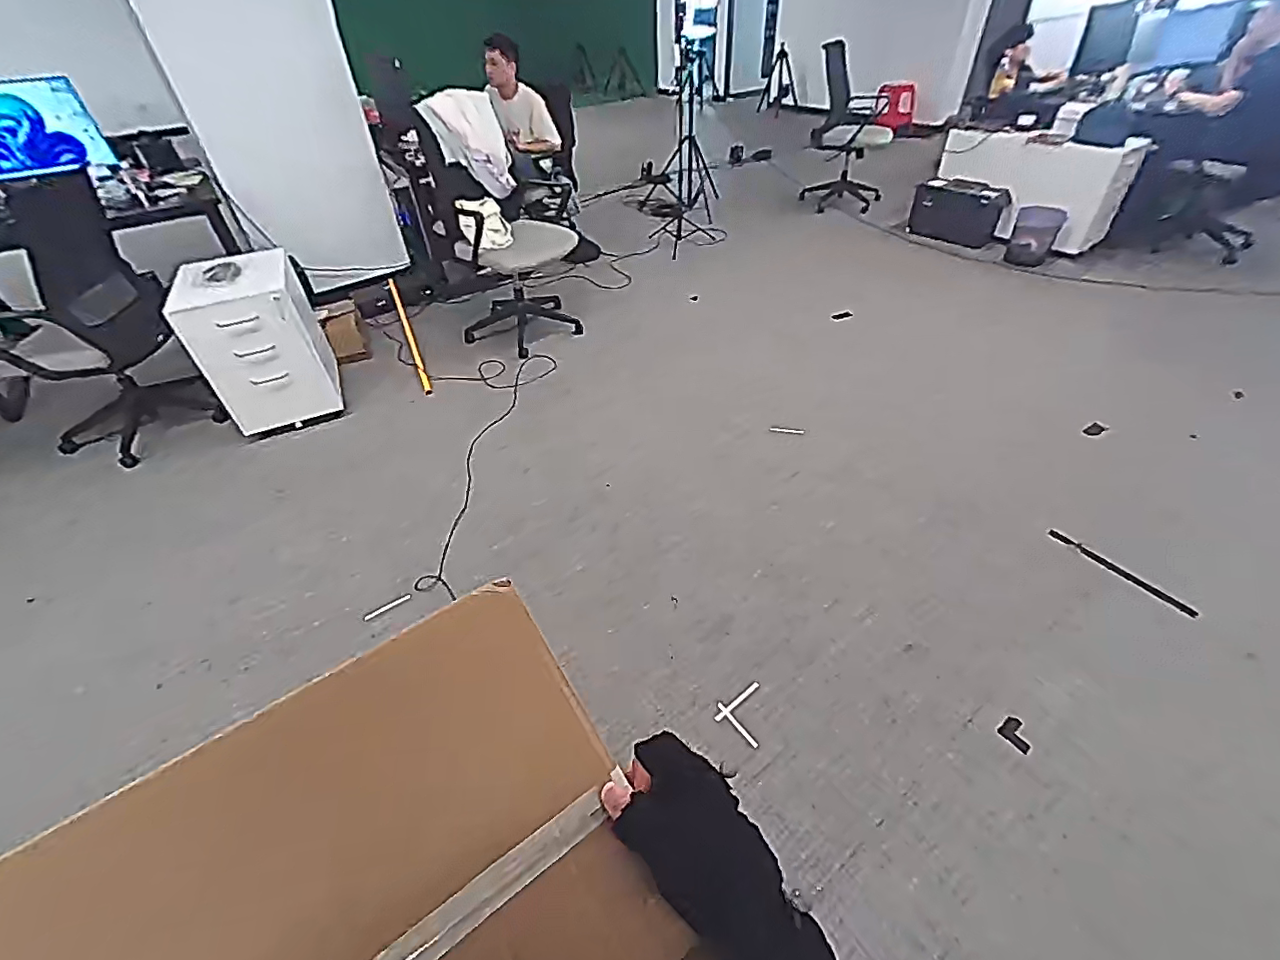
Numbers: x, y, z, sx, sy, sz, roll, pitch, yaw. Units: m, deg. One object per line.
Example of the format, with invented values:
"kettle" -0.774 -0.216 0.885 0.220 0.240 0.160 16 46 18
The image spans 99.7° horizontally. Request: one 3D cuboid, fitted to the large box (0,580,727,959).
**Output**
"large box" -0.216 0.332 0.418 0.408 0.320 0.320 -29 83 -23
